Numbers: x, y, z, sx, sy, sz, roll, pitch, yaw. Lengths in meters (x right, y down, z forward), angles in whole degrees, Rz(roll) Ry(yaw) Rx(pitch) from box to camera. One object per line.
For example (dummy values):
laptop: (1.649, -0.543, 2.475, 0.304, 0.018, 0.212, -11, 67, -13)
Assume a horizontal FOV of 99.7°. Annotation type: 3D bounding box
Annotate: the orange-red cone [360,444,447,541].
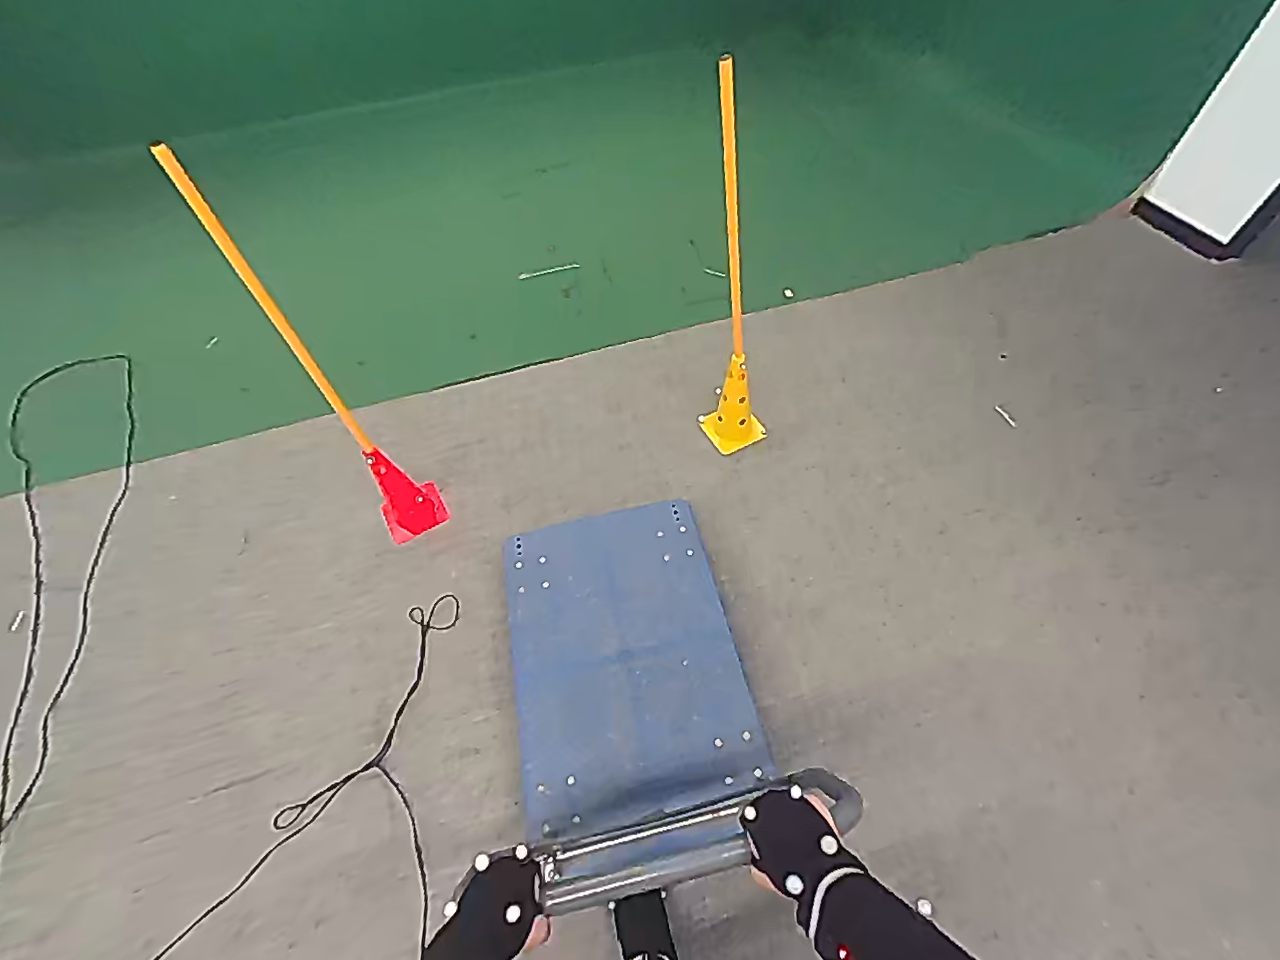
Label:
orange-red cone: (-0.804, 0.010, 1.753, 0.199, 0.360, 0.198, -28, 57, -14)
